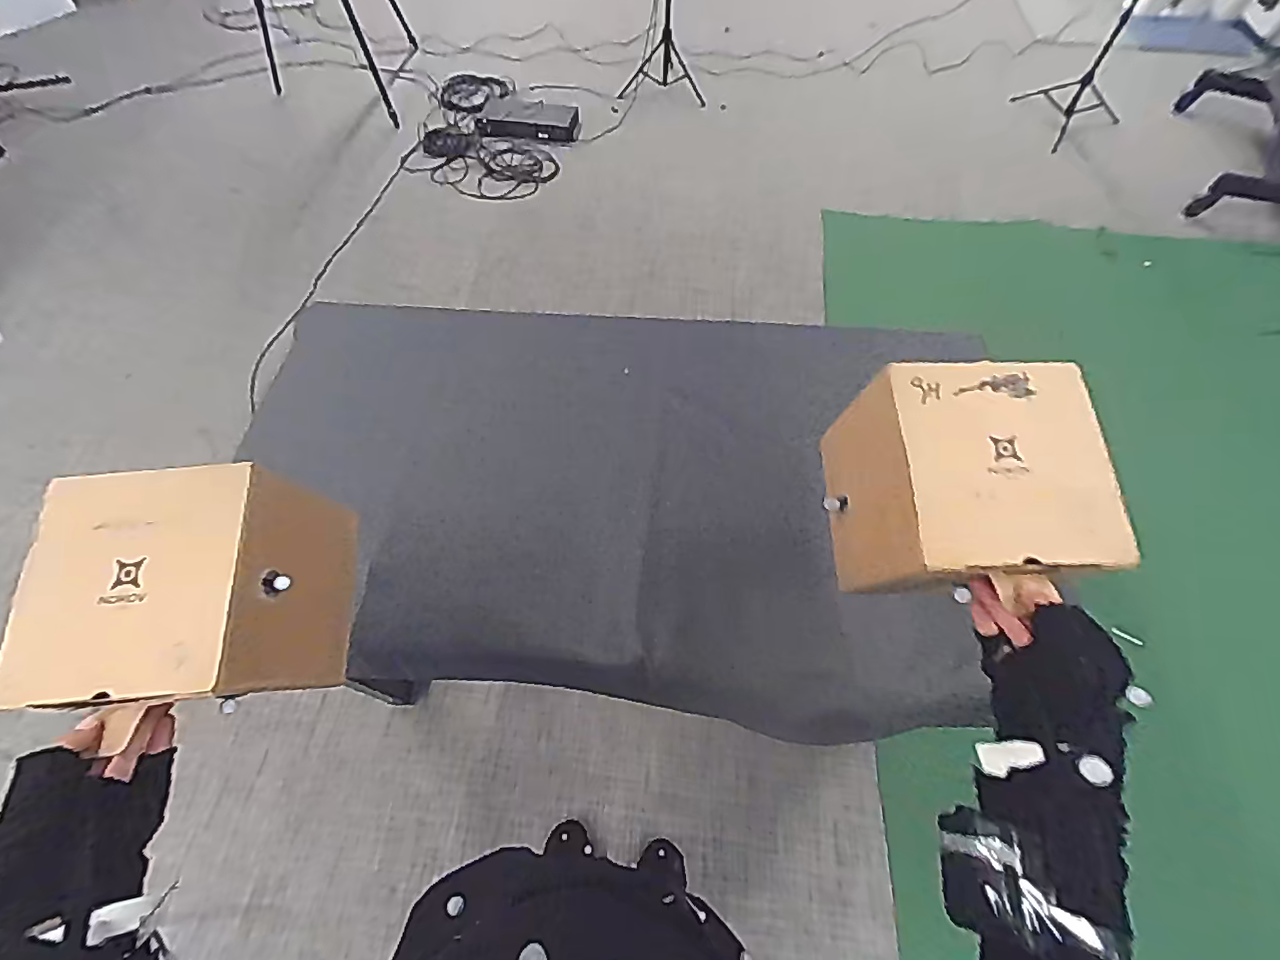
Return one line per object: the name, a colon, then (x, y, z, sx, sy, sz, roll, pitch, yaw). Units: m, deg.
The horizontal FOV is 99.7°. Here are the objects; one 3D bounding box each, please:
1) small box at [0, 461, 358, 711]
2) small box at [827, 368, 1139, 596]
small box: (-0.374, 0.097, 0.476, 0.168, 0.176, 0.179, -4, 71, 0)
small box: (0.287, 0.014, 0.500, 0.168, 0.176, 0.179, 0, 73, -2)
